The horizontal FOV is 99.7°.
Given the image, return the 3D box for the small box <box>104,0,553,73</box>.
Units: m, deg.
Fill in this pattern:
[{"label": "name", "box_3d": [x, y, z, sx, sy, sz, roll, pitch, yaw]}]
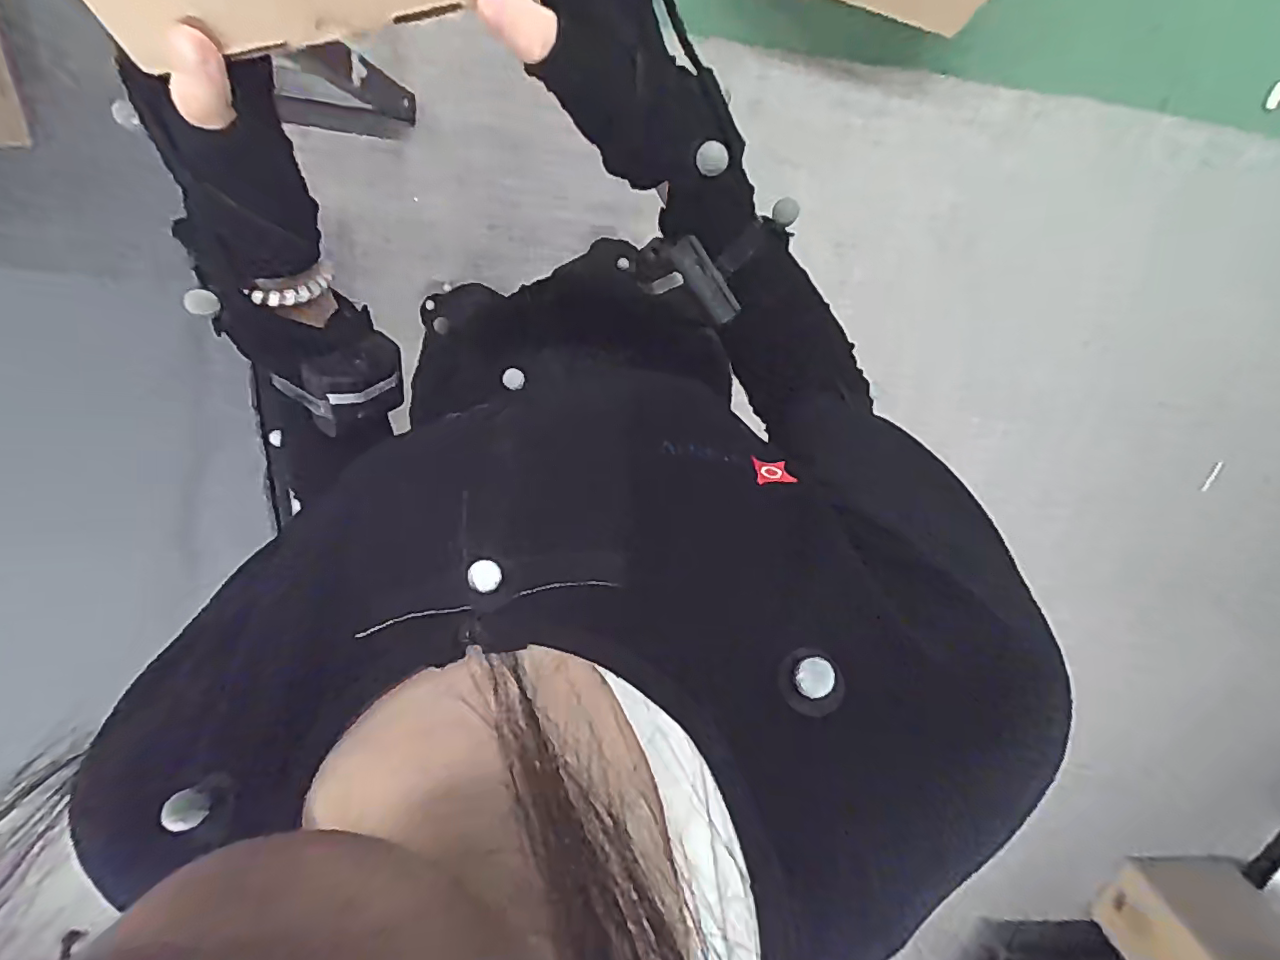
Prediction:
[{"label": "small box", "box_3d": [-0.130, -0.288, 0.184, 0.168, 0.176, 0.179, -8, 149, 3]}]
